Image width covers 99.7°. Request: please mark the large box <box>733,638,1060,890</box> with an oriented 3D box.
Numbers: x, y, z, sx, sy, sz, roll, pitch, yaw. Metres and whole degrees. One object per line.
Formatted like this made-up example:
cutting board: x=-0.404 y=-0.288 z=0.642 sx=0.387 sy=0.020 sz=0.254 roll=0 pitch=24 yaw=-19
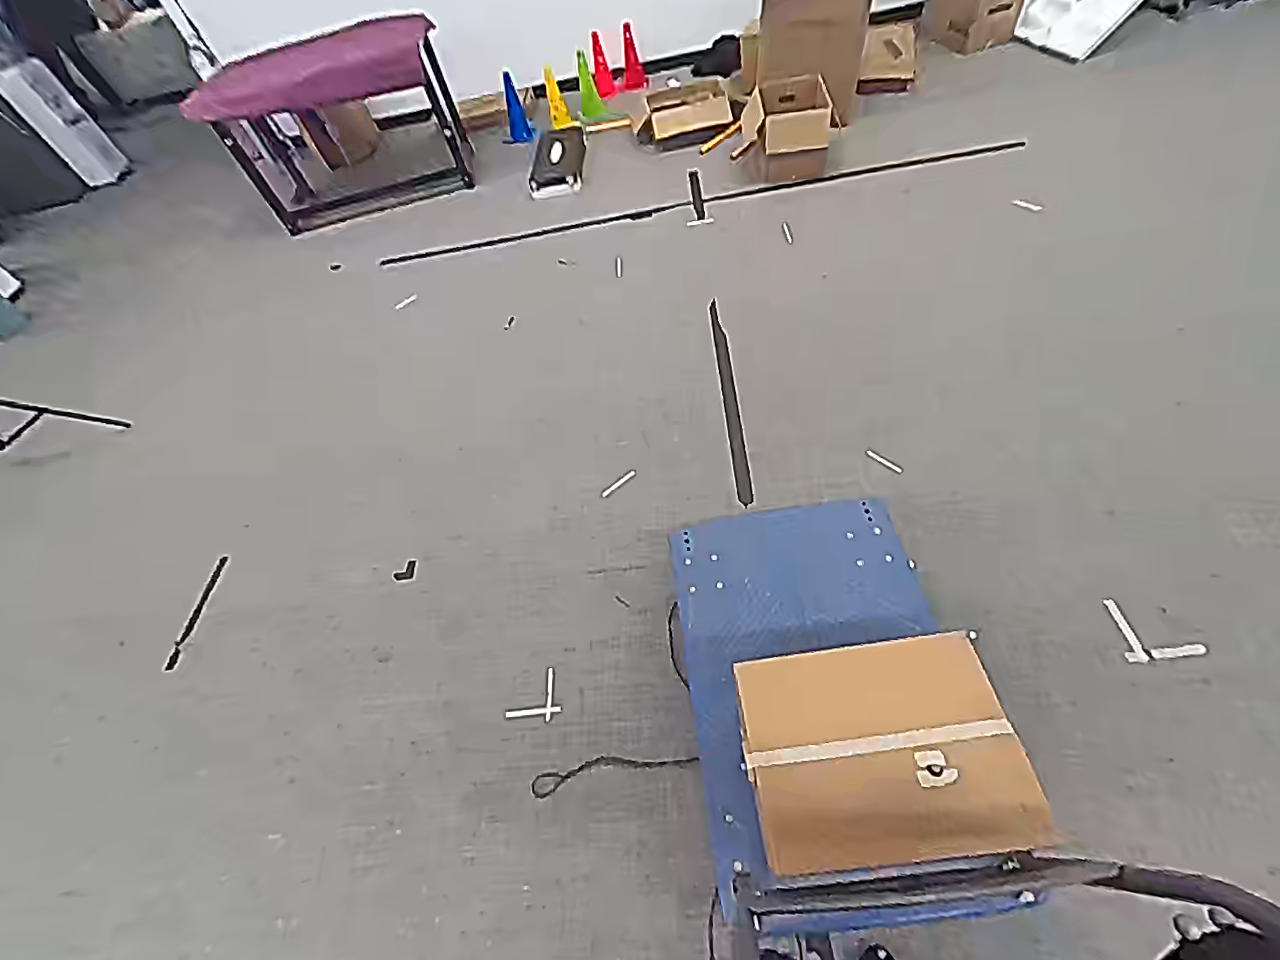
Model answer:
large box: x=0.396 y=0.513 z=0.966 sx=0.408 sy=0.320 sz=0.320 roll=-10 pitch=54 yaw=4
